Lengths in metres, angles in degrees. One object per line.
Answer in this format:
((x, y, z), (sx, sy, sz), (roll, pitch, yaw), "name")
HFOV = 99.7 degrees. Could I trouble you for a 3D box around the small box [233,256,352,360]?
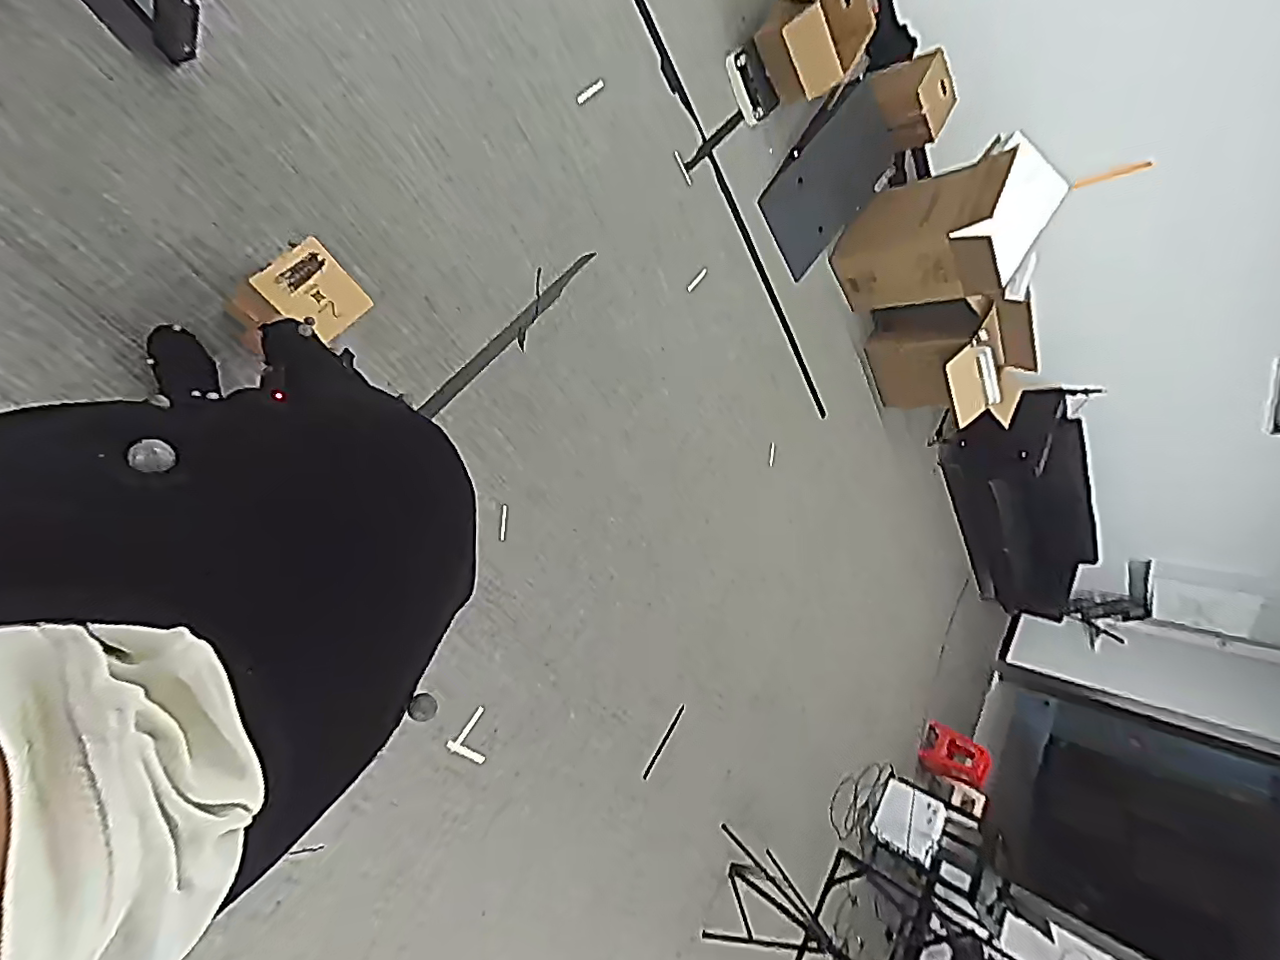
((-0.852, -0.413, 1.318), (0.179, 0.176, 0.168), (-55, 127, -22), "small box")
